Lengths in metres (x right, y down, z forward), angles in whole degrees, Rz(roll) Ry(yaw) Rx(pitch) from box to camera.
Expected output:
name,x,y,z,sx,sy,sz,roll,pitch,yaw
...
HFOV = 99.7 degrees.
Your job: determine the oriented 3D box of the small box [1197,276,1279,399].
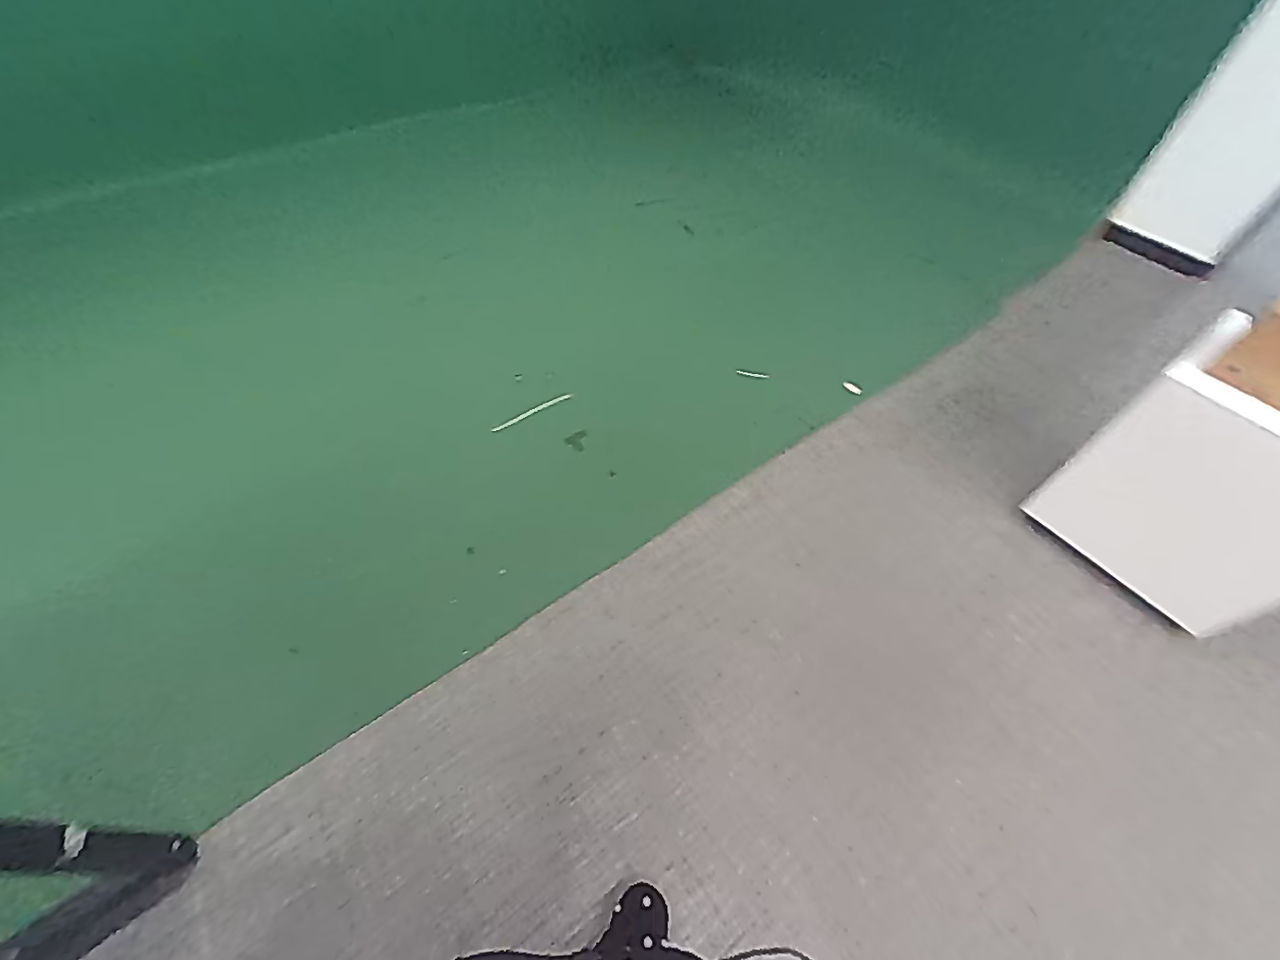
name,x,y,z,sx,sy,sz,roll,pitch,yaw
small box,1.368,-0.304,1.157,0.179,0.176,0.168,-34,62,-24
